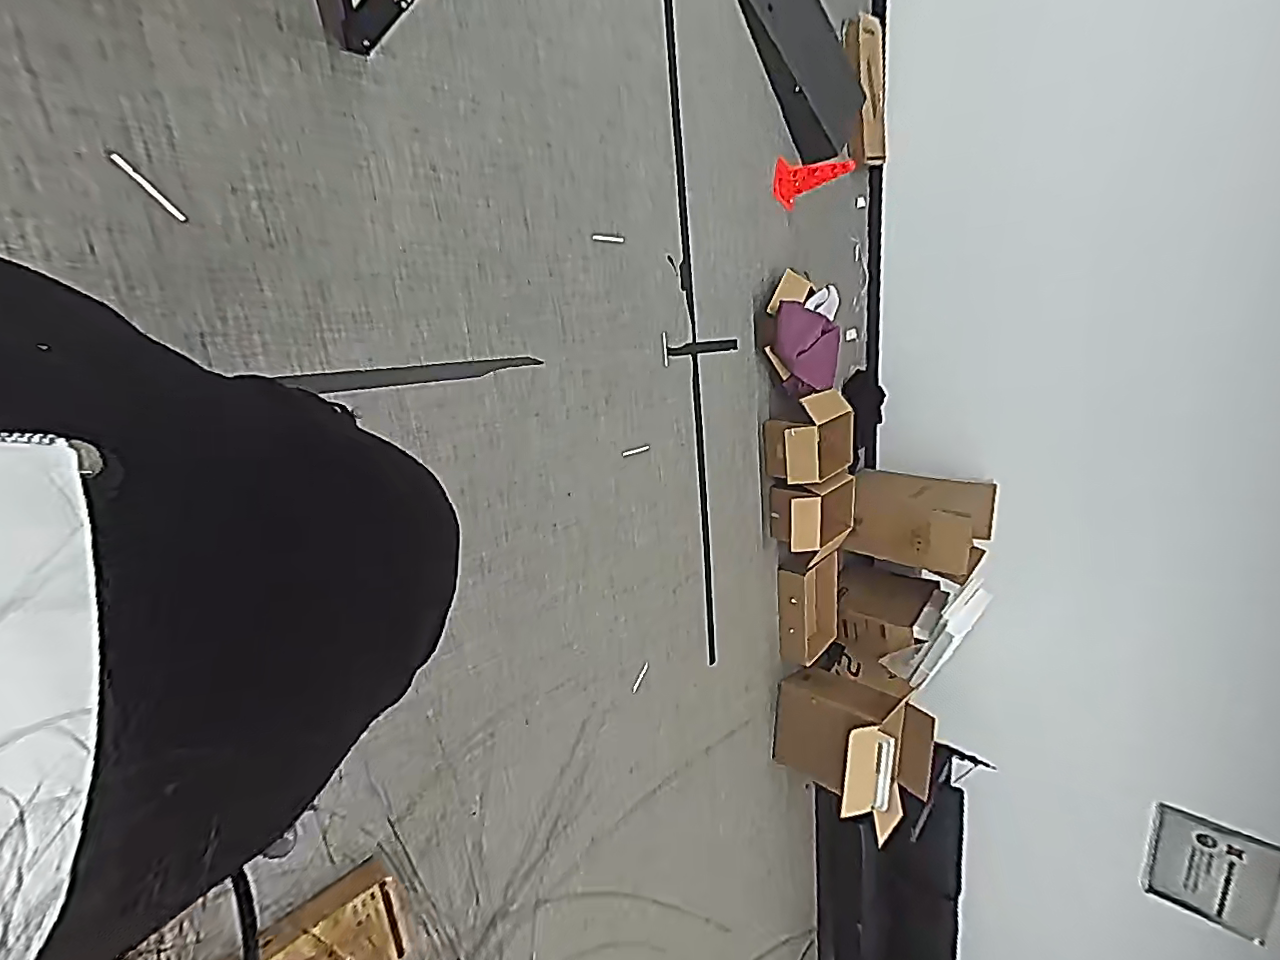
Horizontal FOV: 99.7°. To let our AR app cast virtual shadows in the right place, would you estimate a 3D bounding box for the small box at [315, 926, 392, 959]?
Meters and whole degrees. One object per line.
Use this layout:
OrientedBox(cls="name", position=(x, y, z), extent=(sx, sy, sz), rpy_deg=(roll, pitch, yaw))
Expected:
OrientedBox(cls="small box", position=(-0.747, 1.326, 1.410), extent=(0.168, 0.176, 0.179), rpy_deg=(-18, 109, -43))
